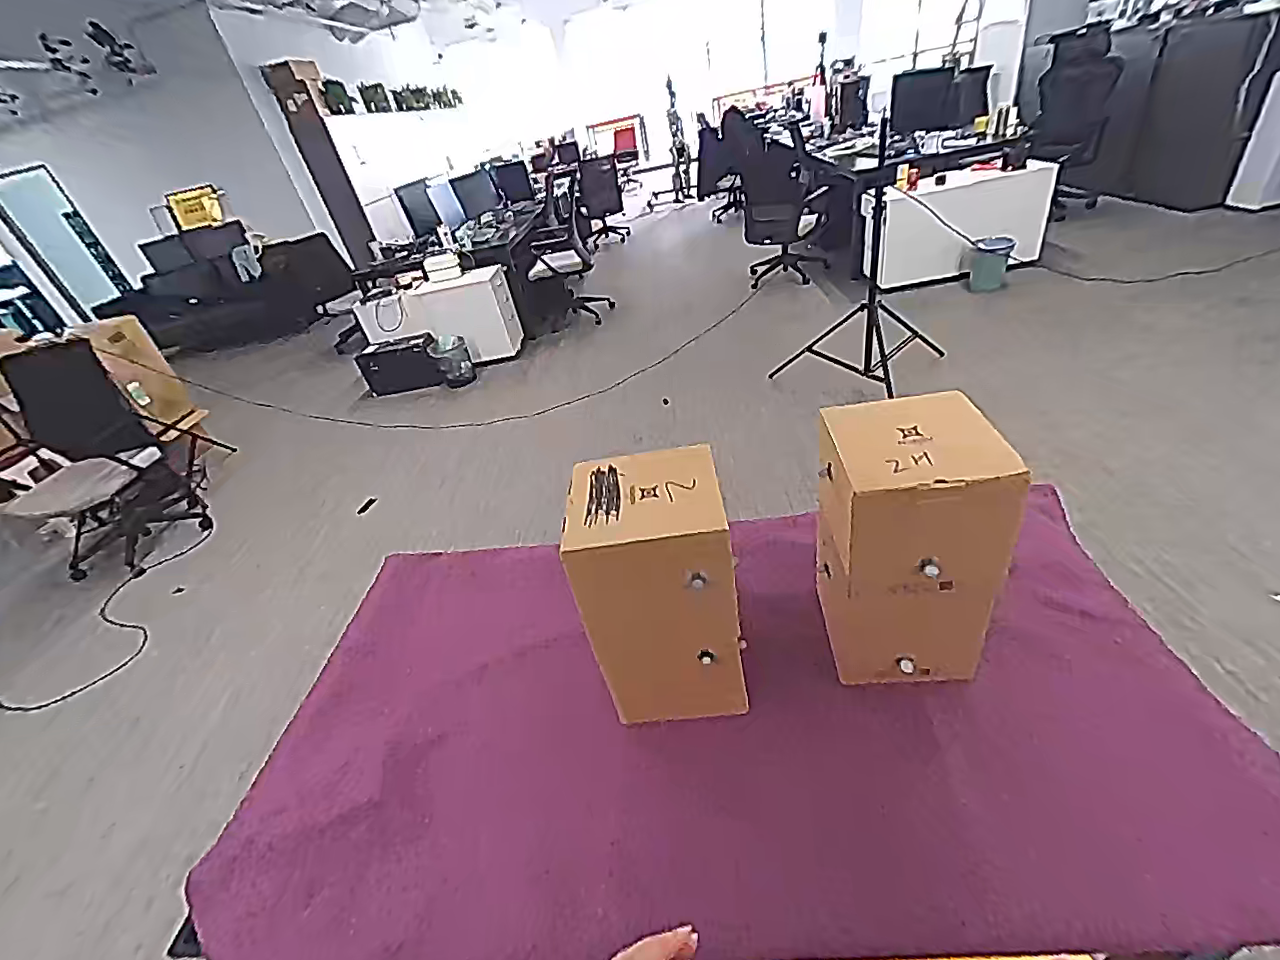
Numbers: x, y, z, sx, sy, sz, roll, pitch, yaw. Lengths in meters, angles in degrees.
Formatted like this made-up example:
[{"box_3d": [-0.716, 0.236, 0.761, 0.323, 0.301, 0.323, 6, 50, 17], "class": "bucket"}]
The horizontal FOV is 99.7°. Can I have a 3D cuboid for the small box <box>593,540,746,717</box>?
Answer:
[{"box_3d": [0.044, 0.208, 0.750, 0.179, 0.176, 0.168, -8, 35, 6], "class": "small box"}]

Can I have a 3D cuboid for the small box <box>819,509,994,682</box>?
[{"box_3d": [0.341, 0.148, 0.733, 0.168, 0.176, 0.179, -6, 36, 10], "class": "small box"}]

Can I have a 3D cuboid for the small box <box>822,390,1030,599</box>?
[{"box_3d": [0.313, 0.016, 0.639, 0.168, 0.176, 0.179, -7, 35, 10], "class": "small box"}]
